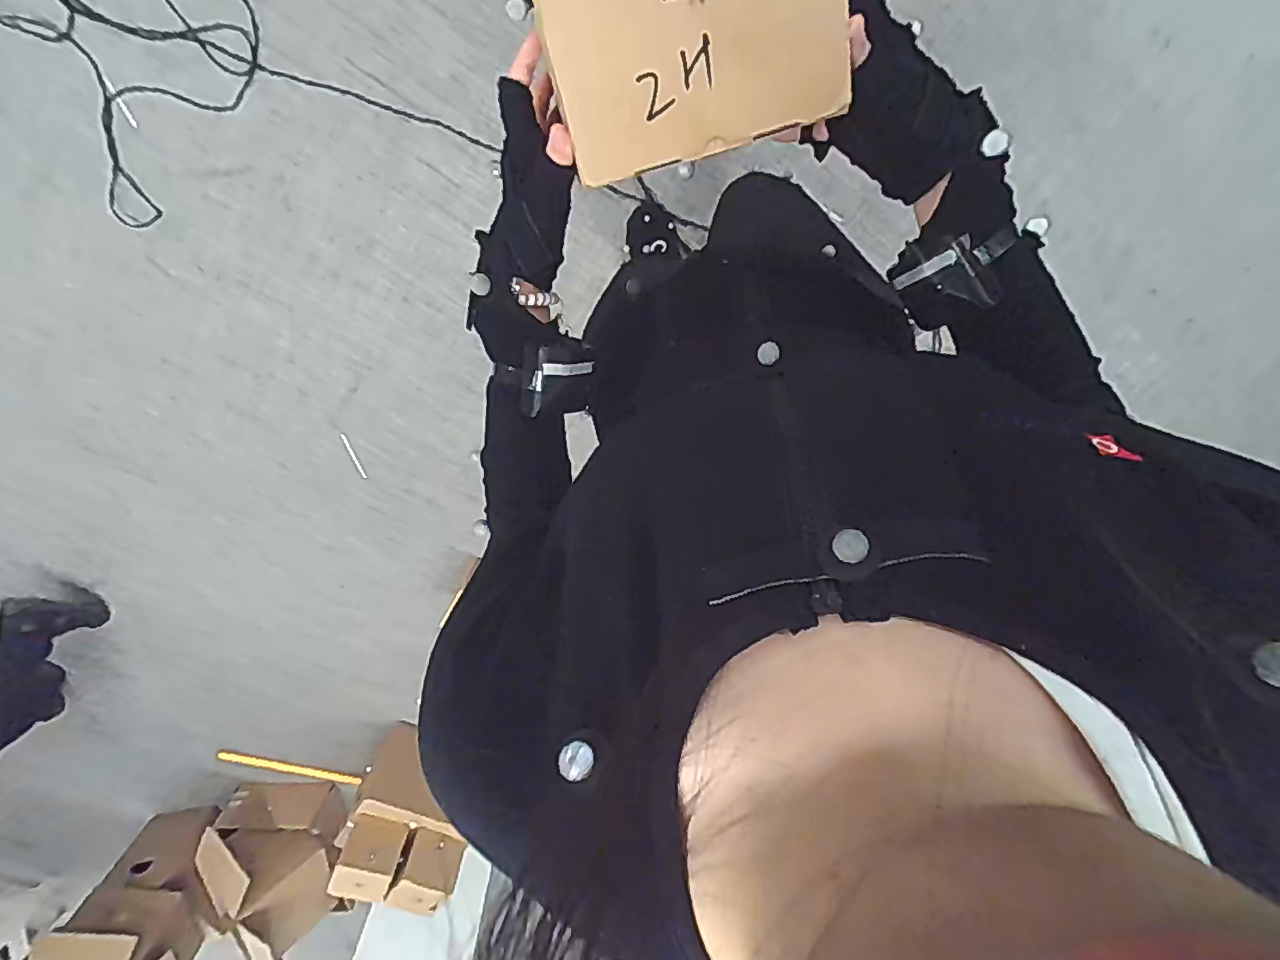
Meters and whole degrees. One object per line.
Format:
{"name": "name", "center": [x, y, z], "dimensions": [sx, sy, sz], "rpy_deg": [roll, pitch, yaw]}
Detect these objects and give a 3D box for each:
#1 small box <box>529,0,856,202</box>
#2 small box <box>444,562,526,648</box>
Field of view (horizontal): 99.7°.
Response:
{"name": "small box", "center": [0.019, -0.294, 0.343], "dimensions": [0.168, 0.176, 0.179], "rpy_deg": [-15, 121, 2]}
{"name": "small box", "center": [-0.476, 0.381, 1.679], "dimensions": [0.179, 0.176, 0.168], "rpy_deg": [28, 113, -15]}
